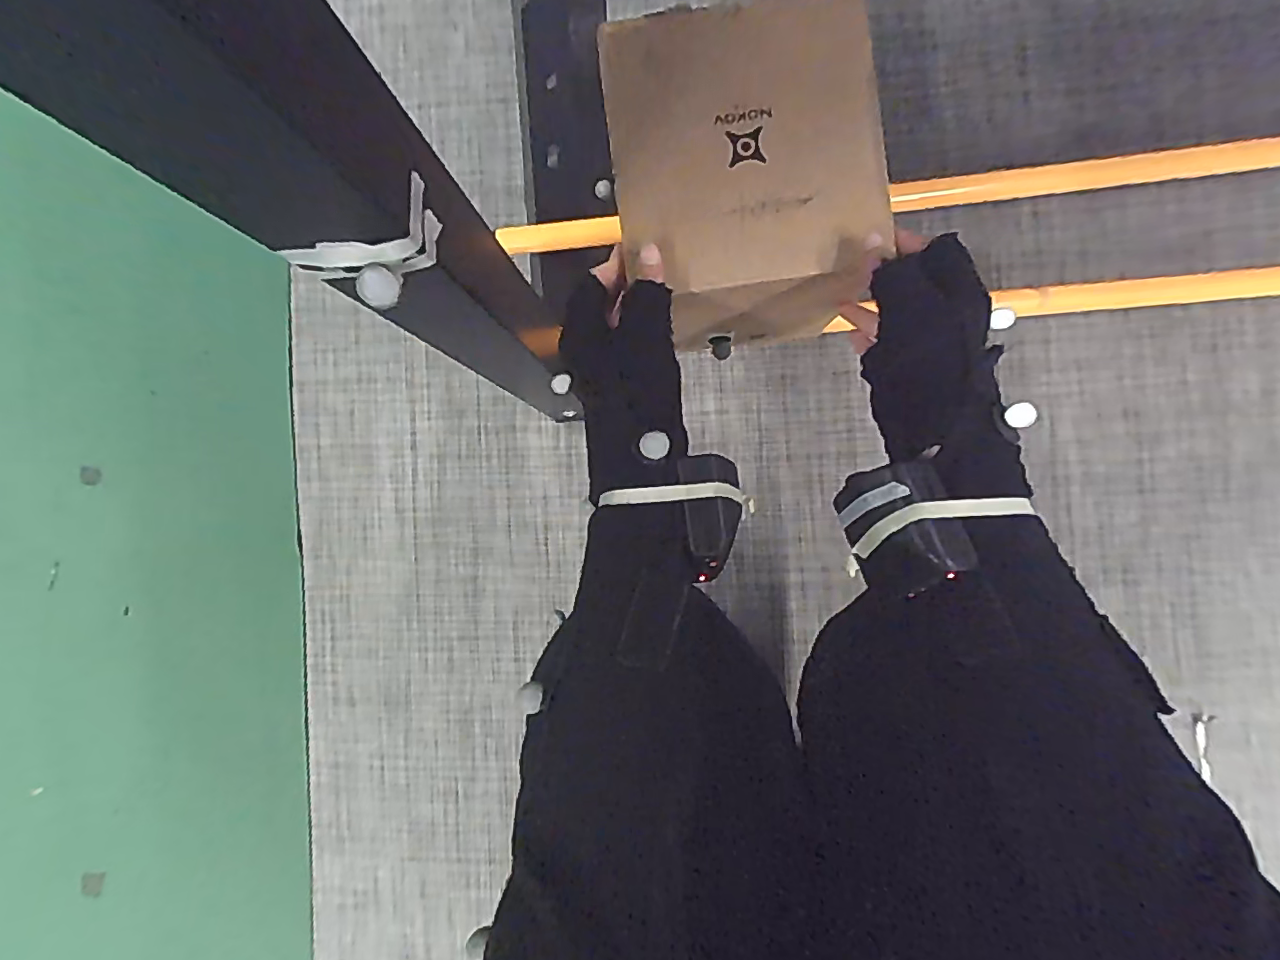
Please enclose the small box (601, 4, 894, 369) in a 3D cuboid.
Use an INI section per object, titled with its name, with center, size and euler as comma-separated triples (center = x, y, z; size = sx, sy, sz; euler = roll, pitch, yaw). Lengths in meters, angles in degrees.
[small box]
center = 0.070, -0.197, 0.416
size = 0.168, 0.176, 0.179
euler = -8, 91, 5
